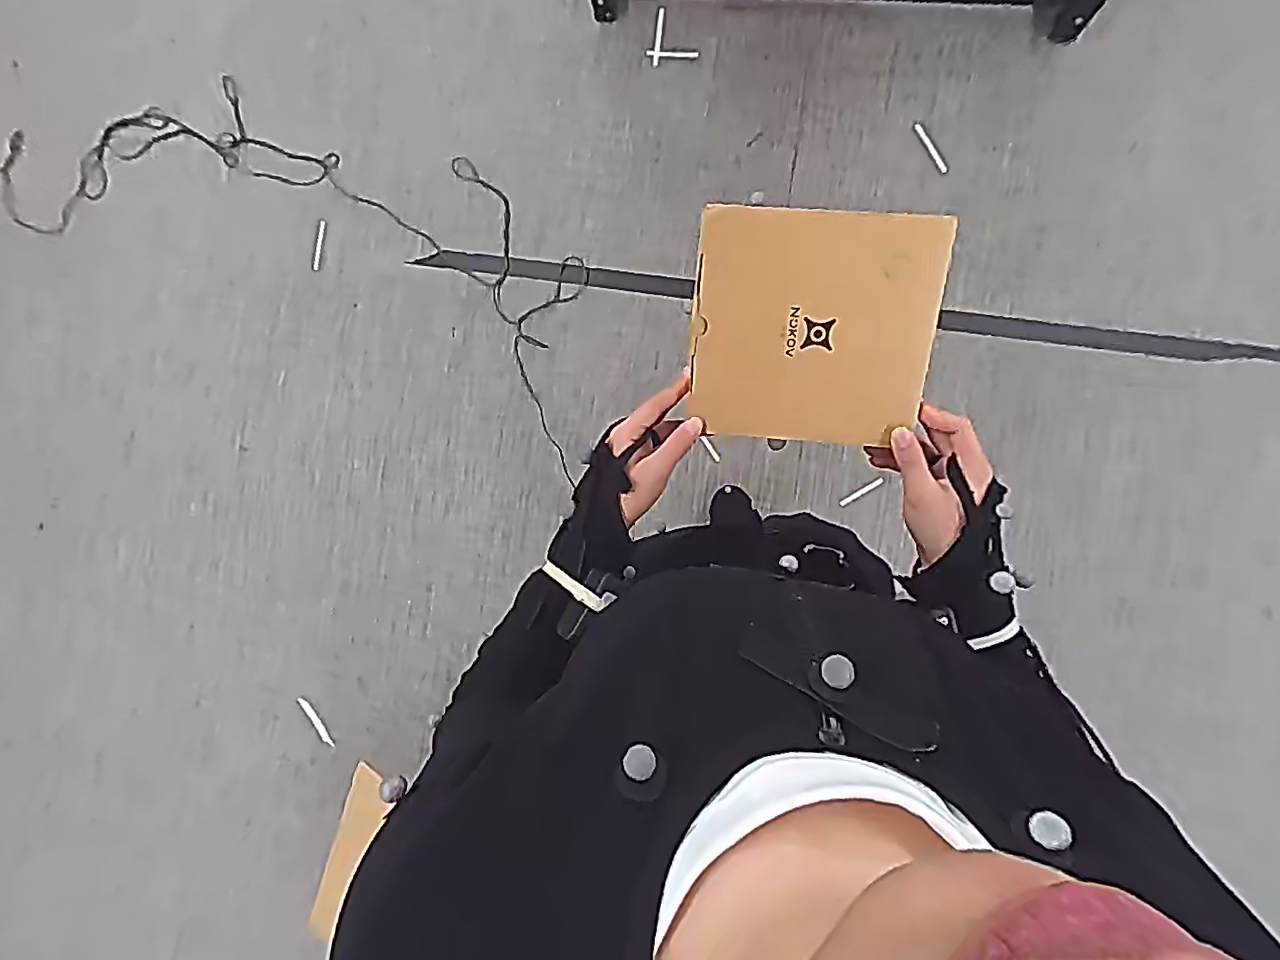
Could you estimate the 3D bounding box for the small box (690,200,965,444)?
[{"bbox_3d":[0.137,-0.135,0.470,0.179,0.176,0.168,5,107,5],"label":"small box"}]
